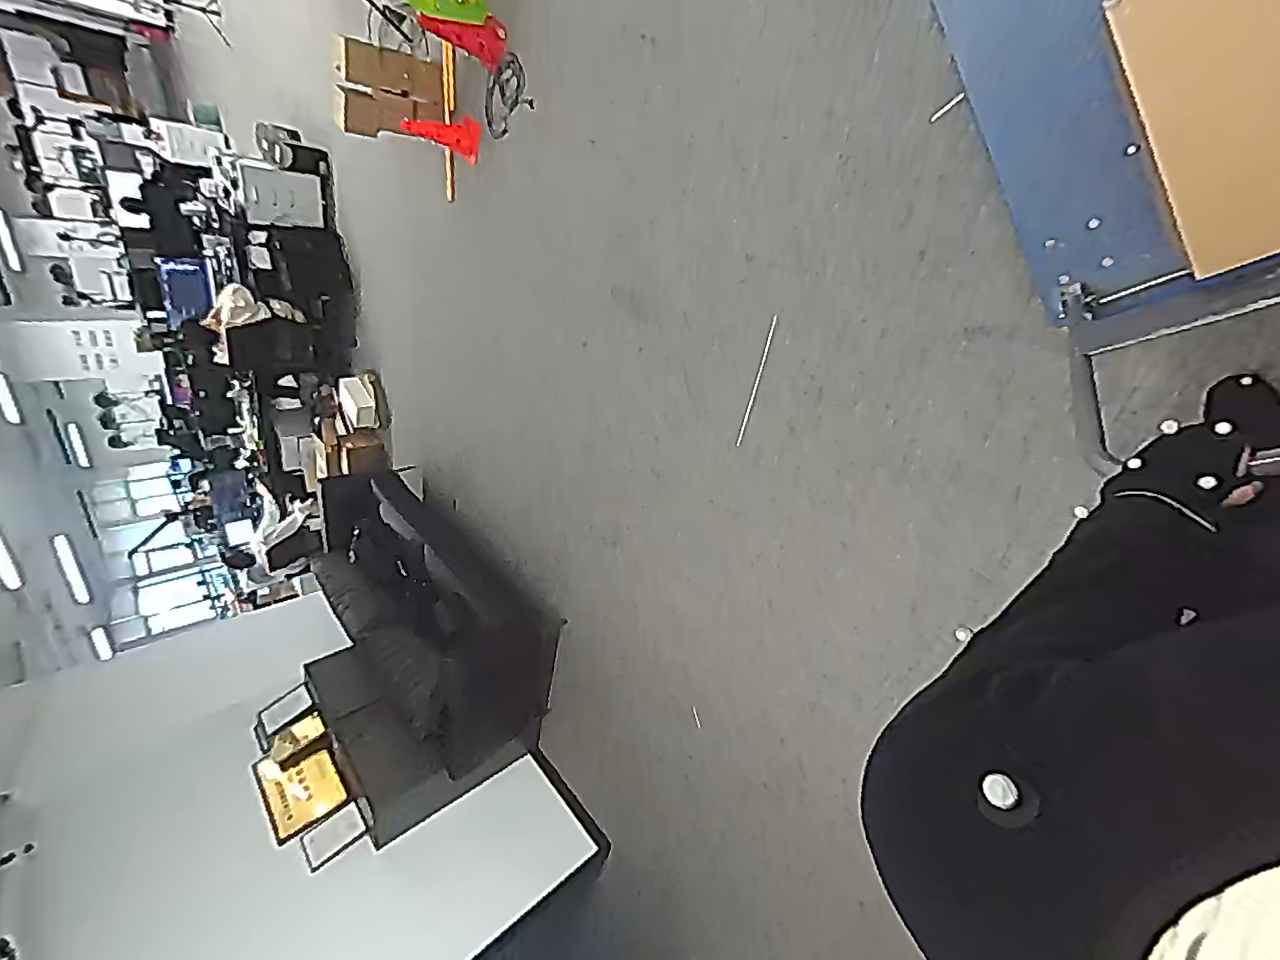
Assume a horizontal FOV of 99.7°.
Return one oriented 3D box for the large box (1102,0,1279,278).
[{"bbox_3d":[0.918,-0.570,0.768,0.320,0.320,0.408,-20,104,44],"label":"large box"}]
